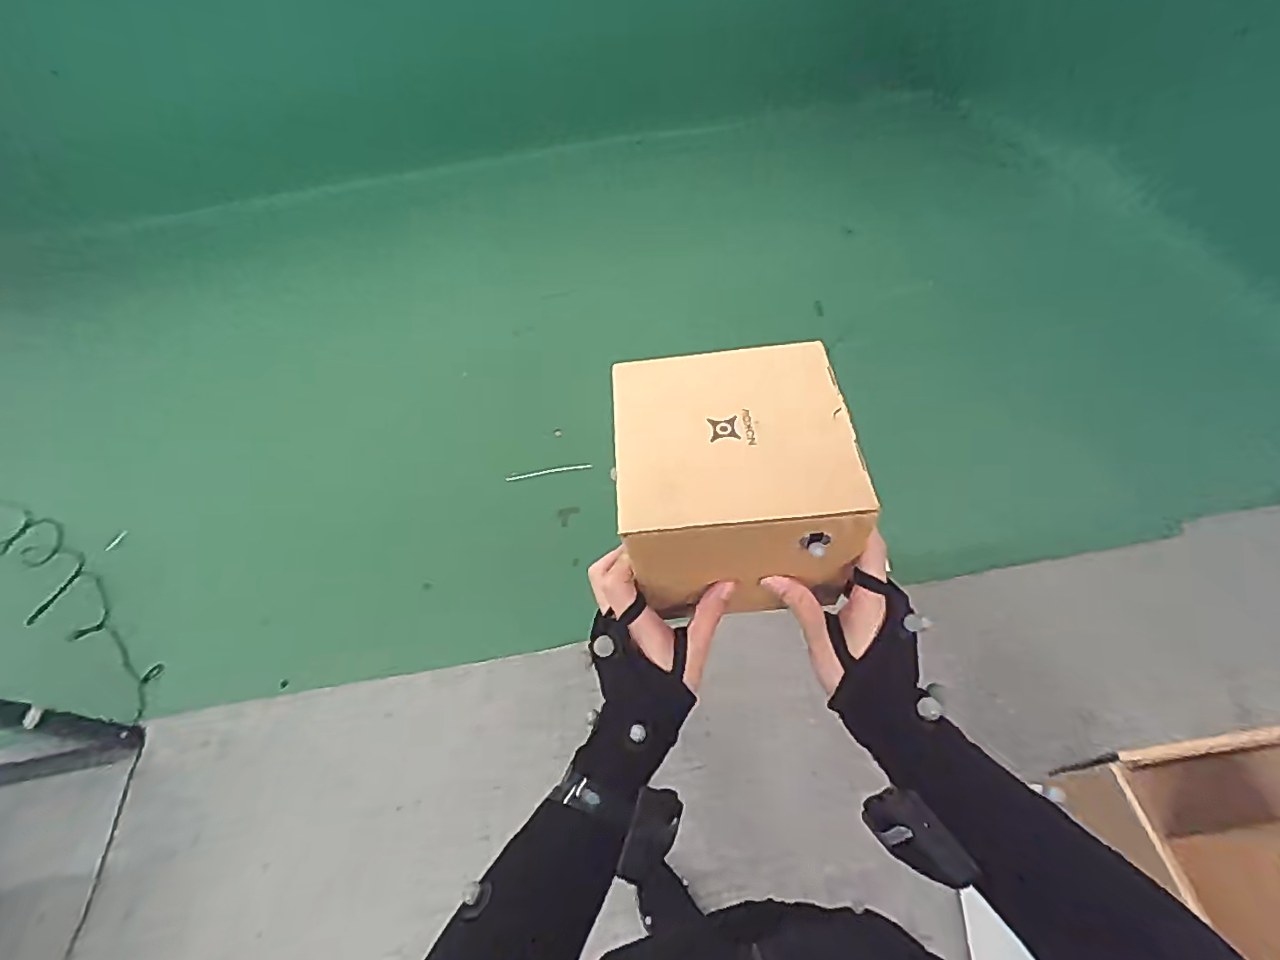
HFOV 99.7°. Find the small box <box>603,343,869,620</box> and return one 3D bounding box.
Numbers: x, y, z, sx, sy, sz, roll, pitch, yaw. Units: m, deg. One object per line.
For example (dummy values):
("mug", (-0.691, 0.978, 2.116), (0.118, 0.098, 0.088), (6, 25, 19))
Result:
("small box", (0.069, 0.010, 0.462), (0.179, 0.176, 0.168), (-6, 54, 3))
